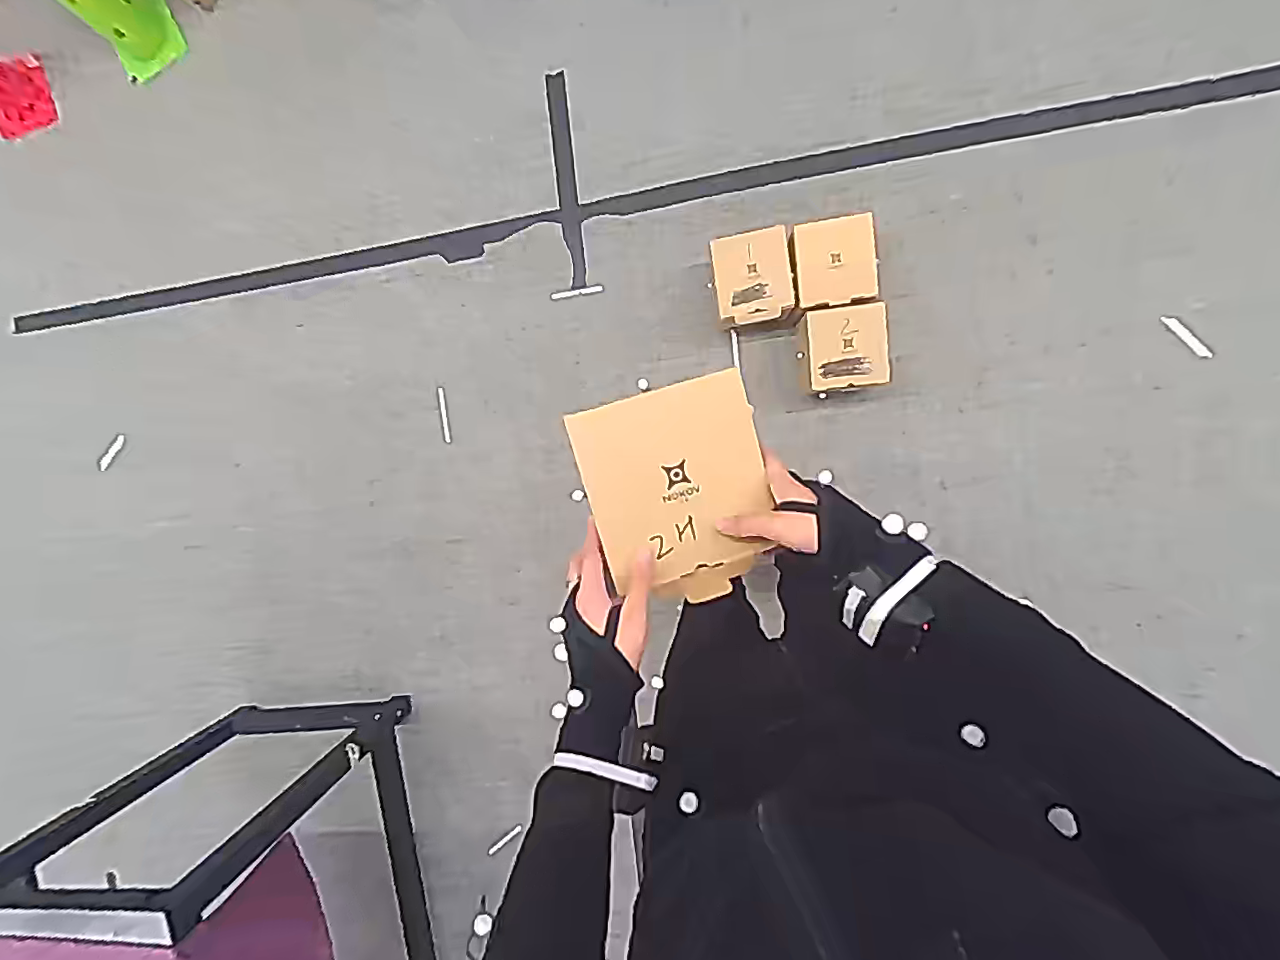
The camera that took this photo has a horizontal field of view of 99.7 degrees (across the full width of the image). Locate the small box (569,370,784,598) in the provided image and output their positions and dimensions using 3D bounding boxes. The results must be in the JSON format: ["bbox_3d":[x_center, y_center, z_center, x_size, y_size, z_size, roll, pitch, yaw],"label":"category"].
[{"bbox_3d":[0.026,-0.003,0.569,0.168,0.176,0.179,-17,98,-4],"label":"small box"}]
